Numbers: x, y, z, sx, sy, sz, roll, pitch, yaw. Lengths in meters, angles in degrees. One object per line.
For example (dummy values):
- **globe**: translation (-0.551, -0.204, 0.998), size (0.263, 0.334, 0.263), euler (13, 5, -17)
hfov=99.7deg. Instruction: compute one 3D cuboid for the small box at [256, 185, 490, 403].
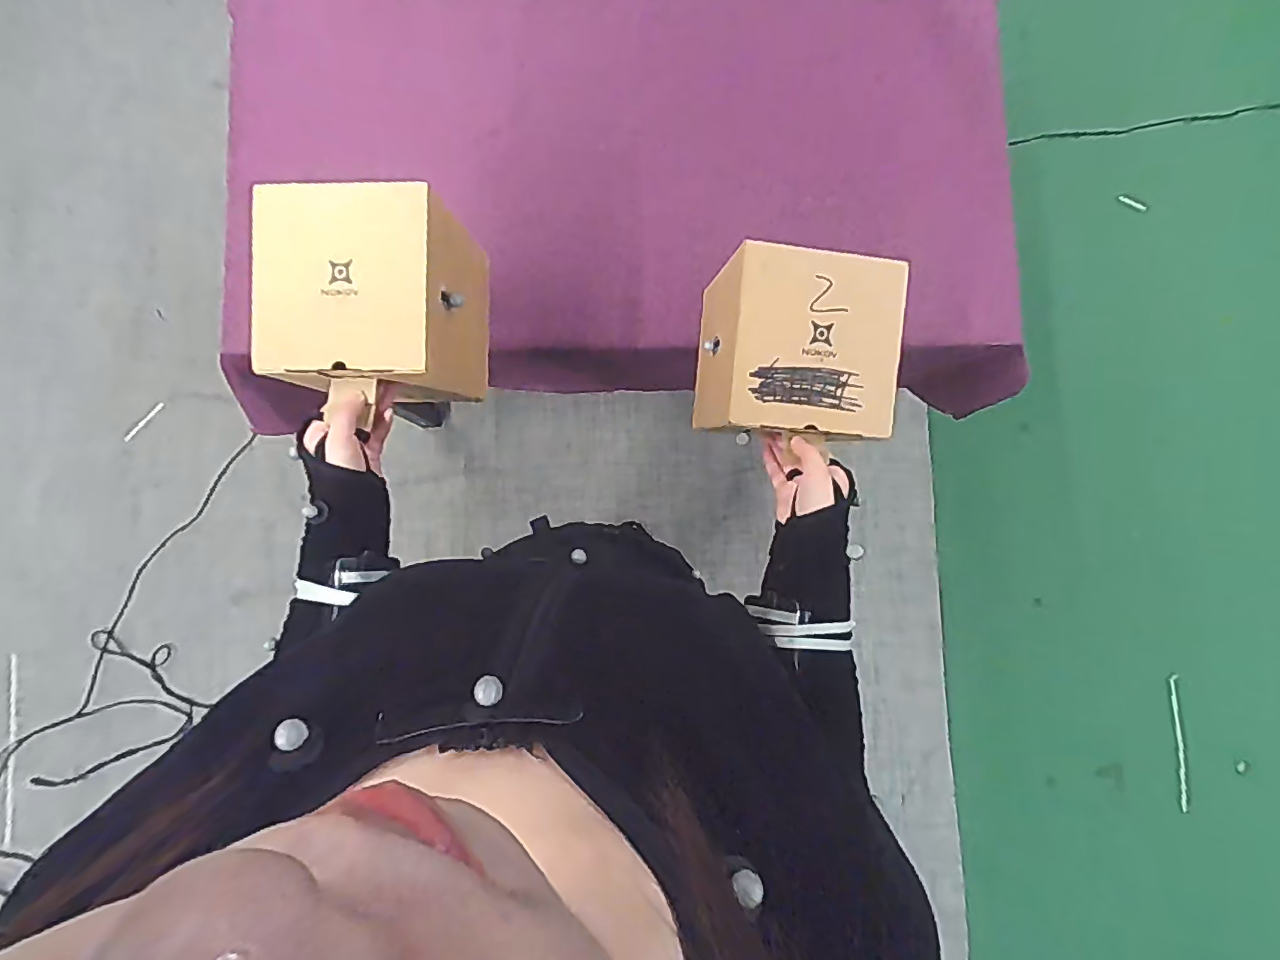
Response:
- **small box**: translation (-0.265, -0.182, 0.573), size (0.168, 0.176, 0.179), euler (1, 90, 2)
